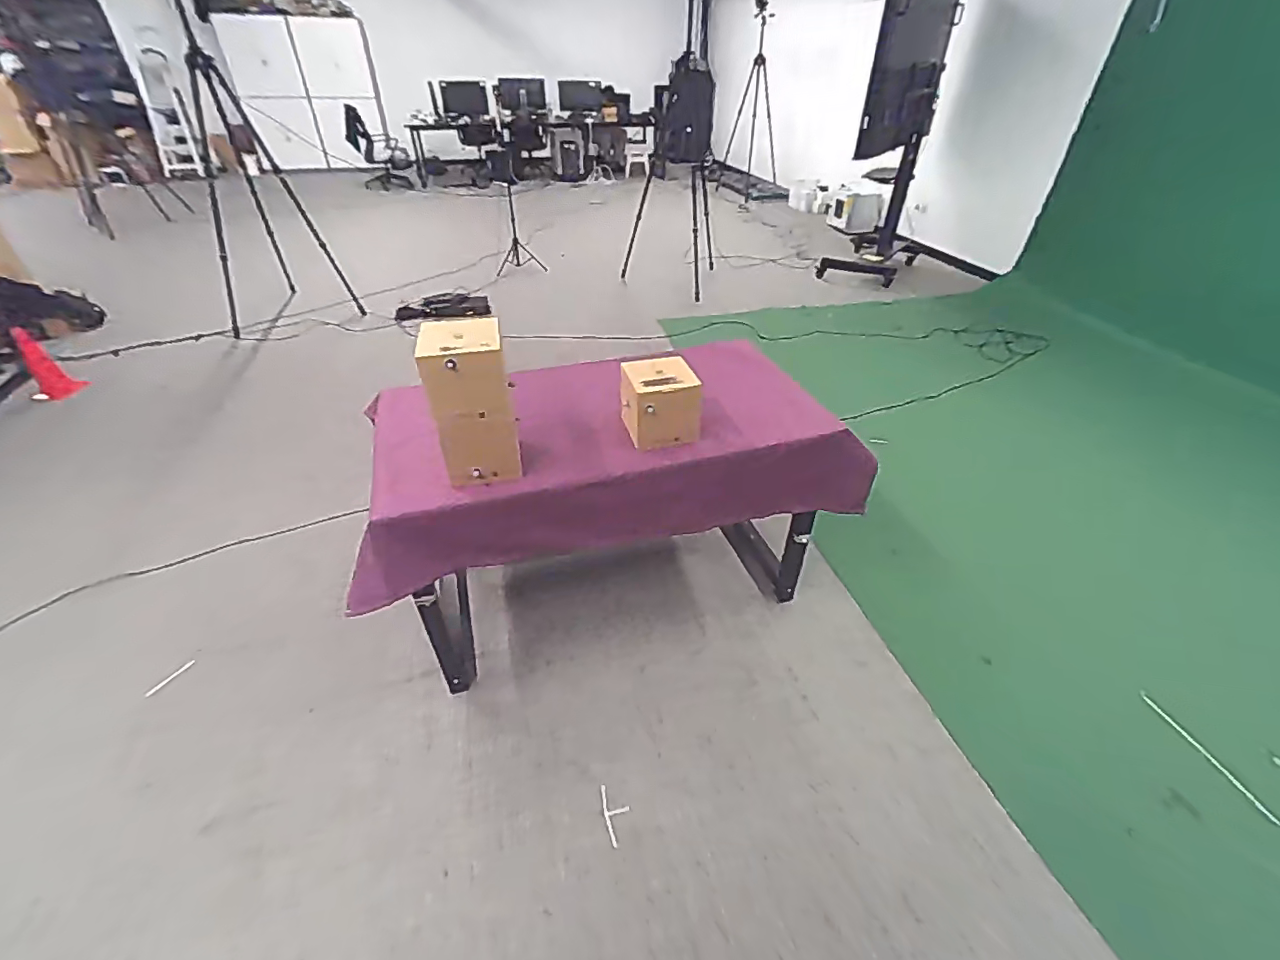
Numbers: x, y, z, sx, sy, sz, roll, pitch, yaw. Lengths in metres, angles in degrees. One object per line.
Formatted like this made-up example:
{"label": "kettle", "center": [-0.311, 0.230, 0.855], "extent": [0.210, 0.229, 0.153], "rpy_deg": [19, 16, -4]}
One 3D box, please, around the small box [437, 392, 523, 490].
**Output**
{"label": "small box", "center": [-0.375, -0.100, 1.285], "extent": [0.168, 0.176, 0.179], "rpy_deg": [-8, 39, -10]}

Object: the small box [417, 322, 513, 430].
{"label": "small box", "center": [-0.375, -0.230, 1.183], "extent": [0.168, 0.176, 0.179], "rpy_deg": [-9, 38, -9]}
